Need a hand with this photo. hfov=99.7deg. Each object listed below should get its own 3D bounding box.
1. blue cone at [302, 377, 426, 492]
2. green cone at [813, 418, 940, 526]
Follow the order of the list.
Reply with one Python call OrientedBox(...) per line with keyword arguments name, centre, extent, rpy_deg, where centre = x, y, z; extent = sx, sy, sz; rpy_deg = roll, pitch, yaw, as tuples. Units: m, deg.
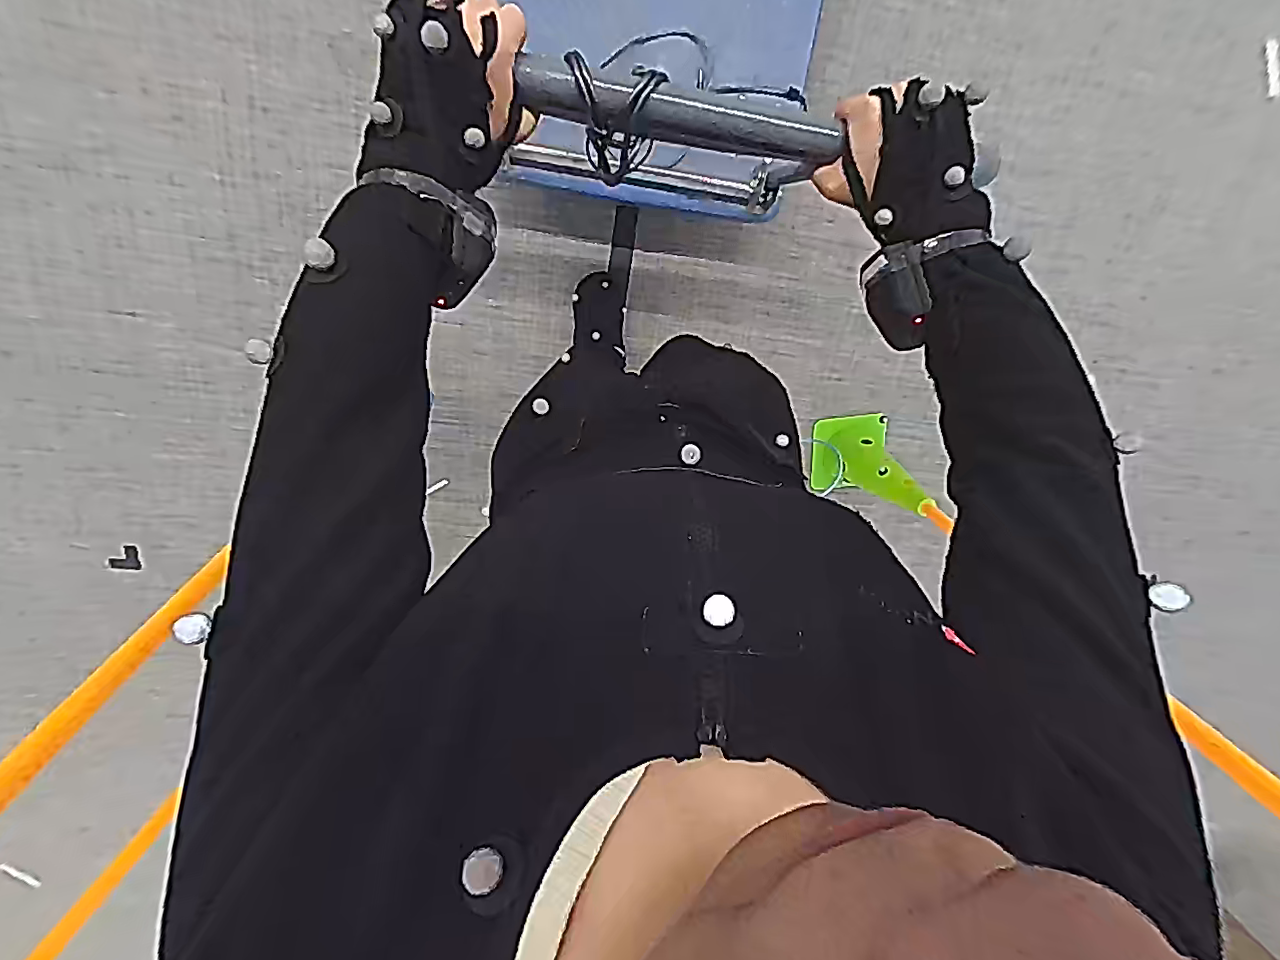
OrientedBox(name="blue cone", centre=(-0.595, -0.074, 1.118), extent=(0.193, 0.380, 0.192), rpy_deg=(20, 109, -14))
OrientedBox(name="green cone", centre=(0.574, 0.004, 1.273), extent=(0.200, 0.368, 0.202), rpy_deg=(-7, 113, -4))
